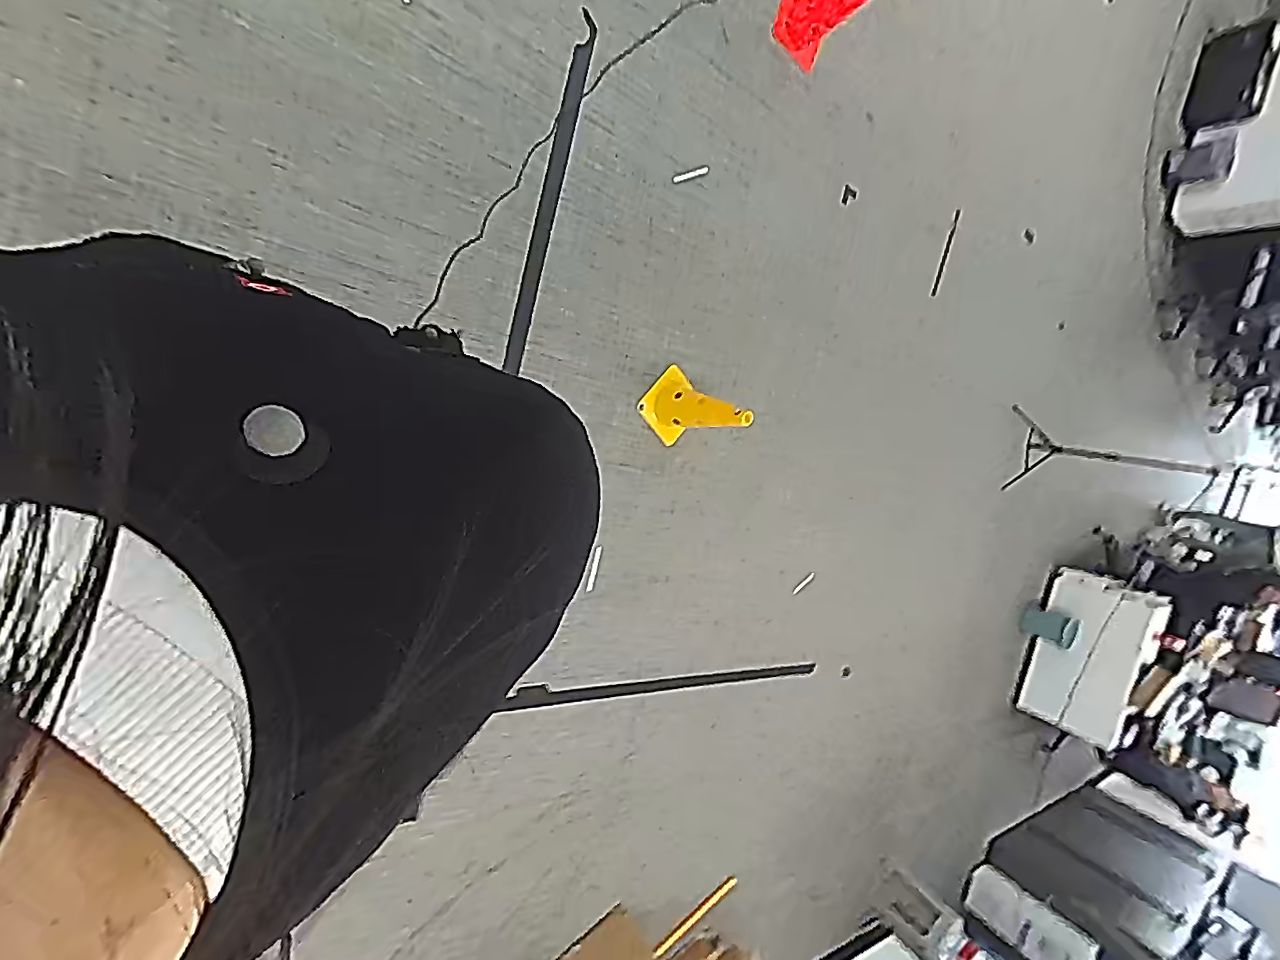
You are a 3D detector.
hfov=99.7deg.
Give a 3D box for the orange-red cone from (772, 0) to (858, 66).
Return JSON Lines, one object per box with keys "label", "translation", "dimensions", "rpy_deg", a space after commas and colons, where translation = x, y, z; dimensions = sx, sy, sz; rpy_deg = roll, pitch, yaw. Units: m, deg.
{"label": "orange-red cone", "translation": [0.603, -1.445, 1.602], "dimensions": [0.198, 0.360, 0.199], "rpy_deg": [19, 92, -35]}
